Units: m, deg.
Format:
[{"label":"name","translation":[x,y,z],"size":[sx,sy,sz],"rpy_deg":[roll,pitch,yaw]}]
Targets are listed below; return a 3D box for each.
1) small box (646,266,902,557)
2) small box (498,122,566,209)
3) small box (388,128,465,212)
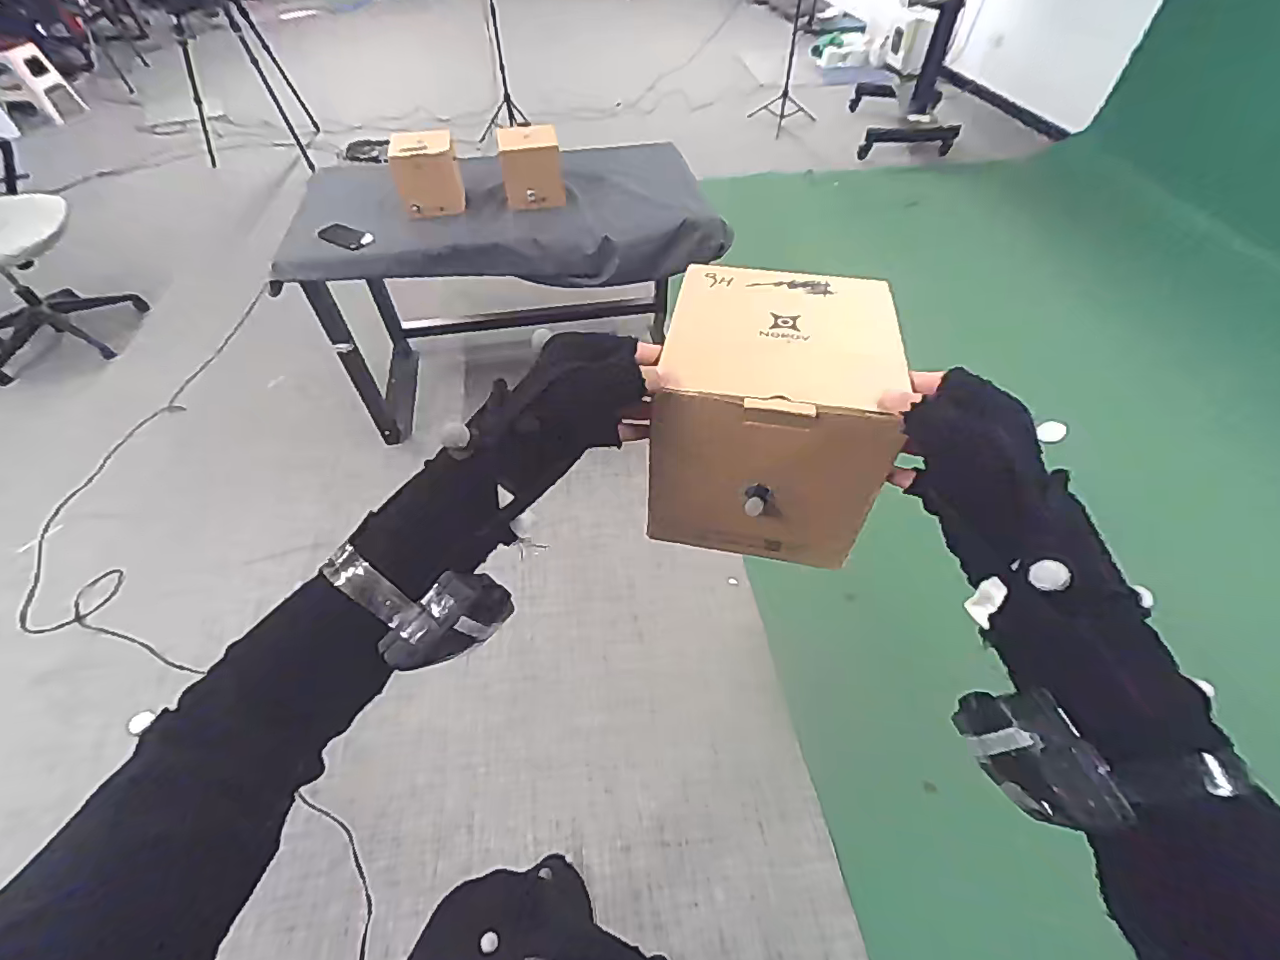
[{"label":"small box","translation":[0.102,-0.056,0.460],"size":[0.168,0.176,0.179],"rpy_deg":[8,49,8]},{"label":"small box","translation":[-0.318,-0.926,1.595],"size":[0.168,0.176,0.179],"rpy_deg":[-11,52,-7]},{"label":"small box","translation":[-0.609,-0.891,1.564],"size":[0.168,0.176,0.179],"rpy_deg":[-9,50,-8]}]
